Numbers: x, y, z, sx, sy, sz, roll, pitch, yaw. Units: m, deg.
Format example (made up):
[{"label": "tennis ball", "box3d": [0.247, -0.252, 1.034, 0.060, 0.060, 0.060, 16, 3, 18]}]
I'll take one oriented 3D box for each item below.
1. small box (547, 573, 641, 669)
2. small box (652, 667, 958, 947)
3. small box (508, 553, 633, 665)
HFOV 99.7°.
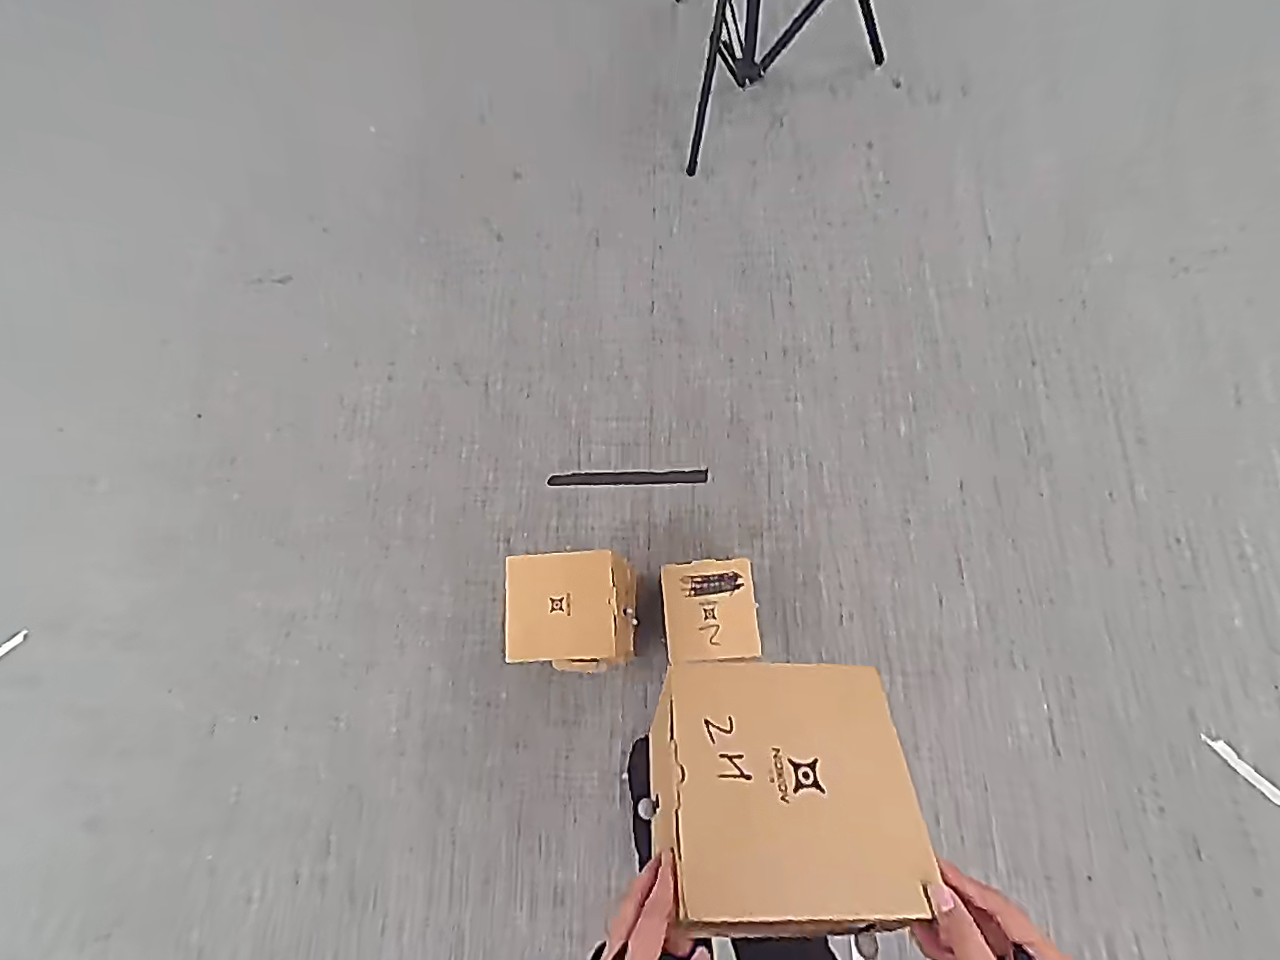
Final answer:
[{"label": "small box", "box3d": [-0.091, 0.272, 1.070, 0.168, 0.176, 0.179, 2, 75, 7]}, {"label": "small box", "box3d": [0.107, 0.268, 0.442, 0.179, 0.176, 0.168, 2, 47, -4]}, {"label": "small box", "box3d": [-0.112, 0.222, 0.917, 0.179, 0.176, 0.168, -5, 74, 5]}]
